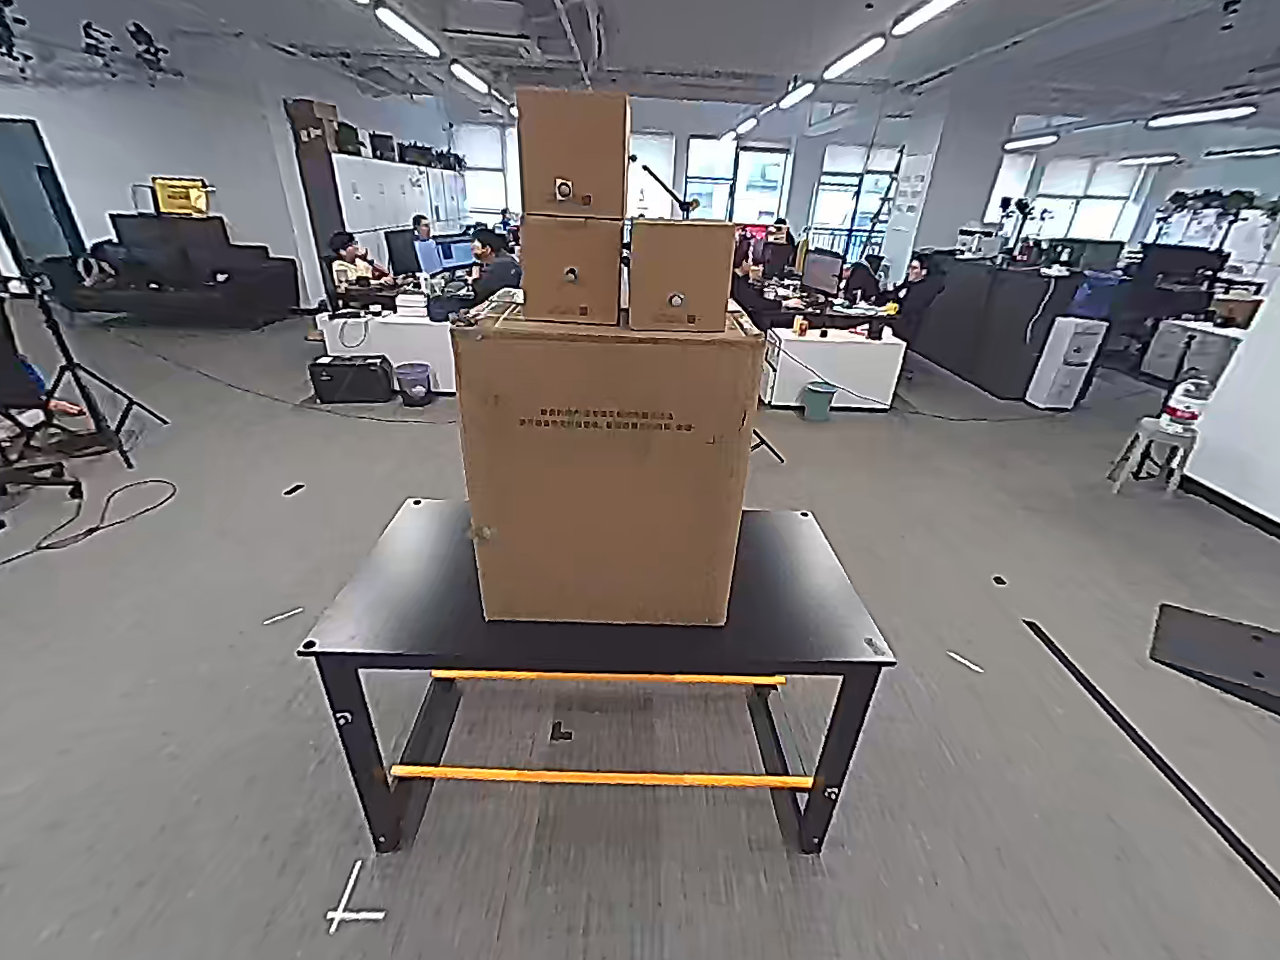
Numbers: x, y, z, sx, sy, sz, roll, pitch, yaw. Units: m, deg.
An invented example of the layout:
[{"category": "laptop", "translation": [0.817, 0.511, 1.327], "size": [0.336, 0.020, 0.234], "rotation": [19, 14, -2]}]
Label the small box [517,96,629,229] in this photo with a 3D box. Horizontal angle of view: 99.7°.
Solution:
[{"category": "small box", "translation": [-0.104, -0.522, 0.901], "size": [0.168, 0.176, 0.179], "rotation": [1, 29, -2]}]
